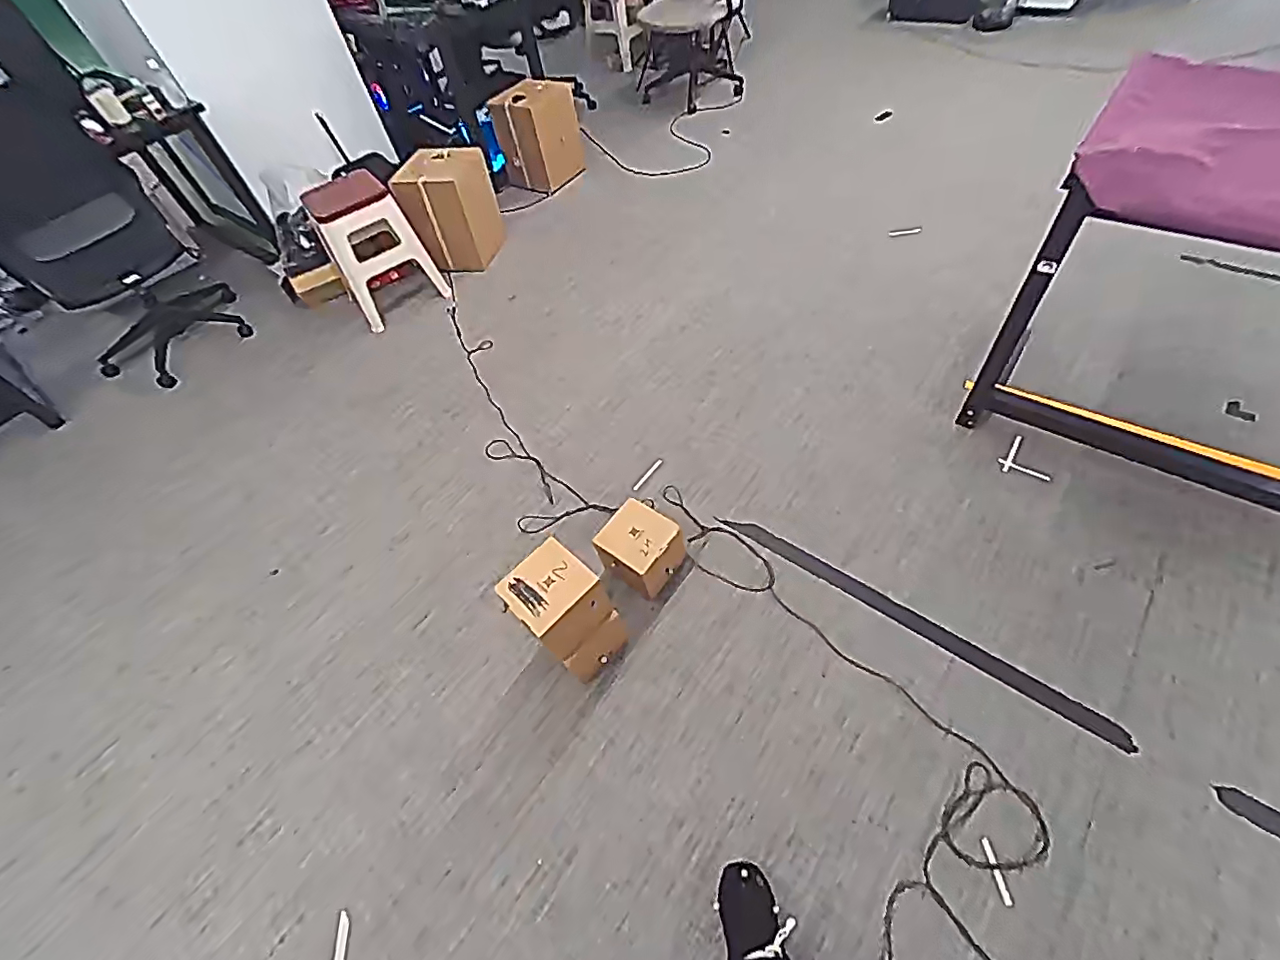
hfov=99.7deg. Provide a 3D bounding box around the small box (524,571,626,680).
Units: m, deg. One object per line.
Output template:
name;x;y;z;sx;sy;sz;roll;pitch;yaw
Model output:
small box;-0.156;0.367;1.348;0.179;0.176;0.168;37;67;28

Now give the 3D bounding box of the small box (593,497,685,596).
small box;0.002;0.184;1.455;0.179;0.176;0.168;31;66;26
